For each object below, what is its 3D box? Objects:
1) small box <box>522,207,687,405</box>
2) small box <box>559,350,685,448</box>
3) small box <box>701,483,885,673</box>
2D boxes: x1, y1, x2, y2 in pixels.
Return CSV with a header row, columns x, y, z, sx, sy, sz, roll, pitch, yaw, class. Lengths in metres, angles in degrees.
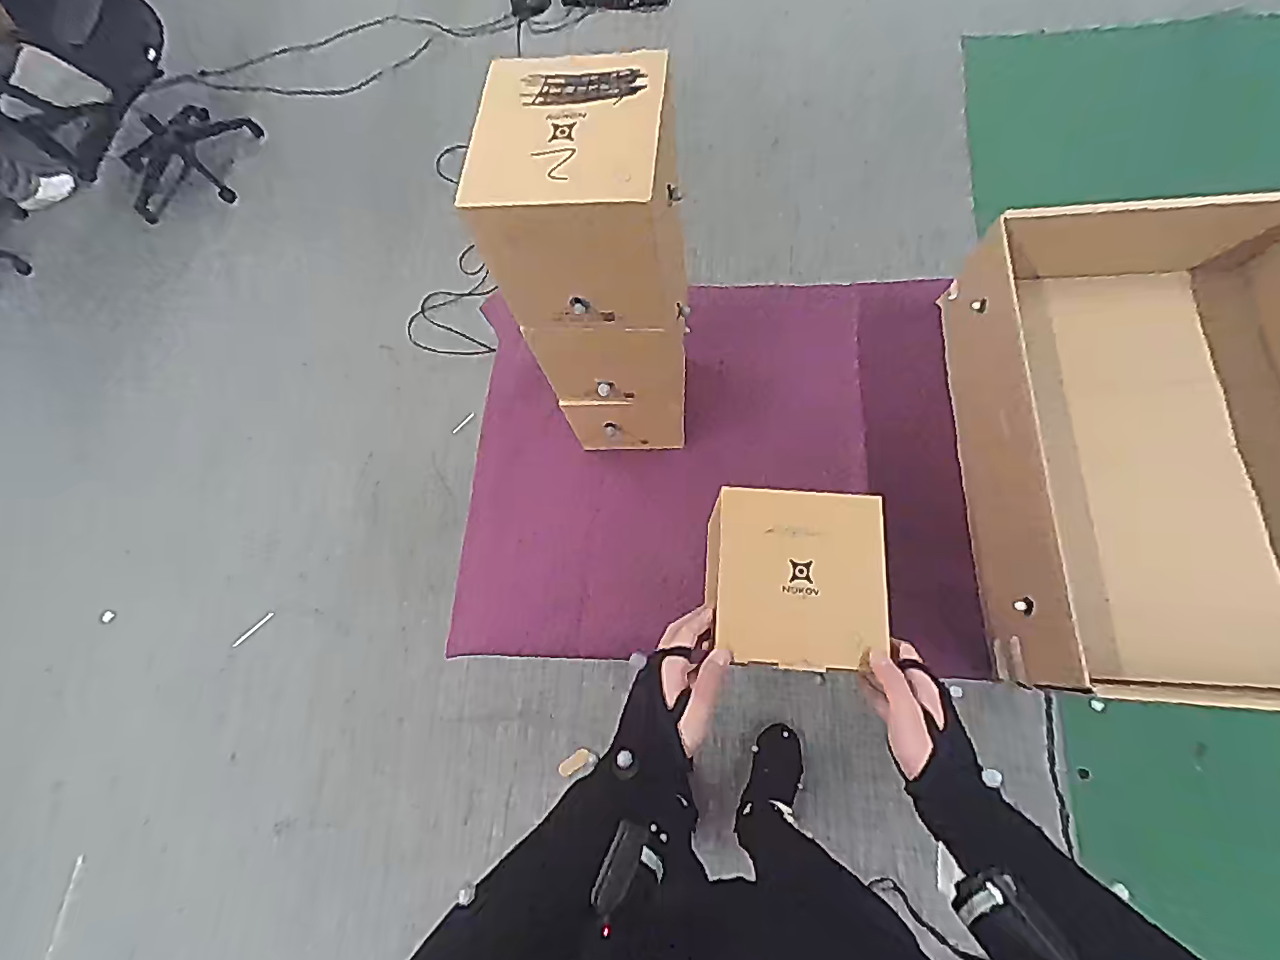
x,y,z,sx,sy,sz,roll,pitch,yaw,class
-0.031,-0.215,0.687,0.168,0.176,0.179,4,71,10,small box
-0.017,-0.156,0.840,0.168,0.176,0.179,0,69,8,small box
0.160,0.115,0.609,0.168,0.176,0.179,5,72,4,small box
